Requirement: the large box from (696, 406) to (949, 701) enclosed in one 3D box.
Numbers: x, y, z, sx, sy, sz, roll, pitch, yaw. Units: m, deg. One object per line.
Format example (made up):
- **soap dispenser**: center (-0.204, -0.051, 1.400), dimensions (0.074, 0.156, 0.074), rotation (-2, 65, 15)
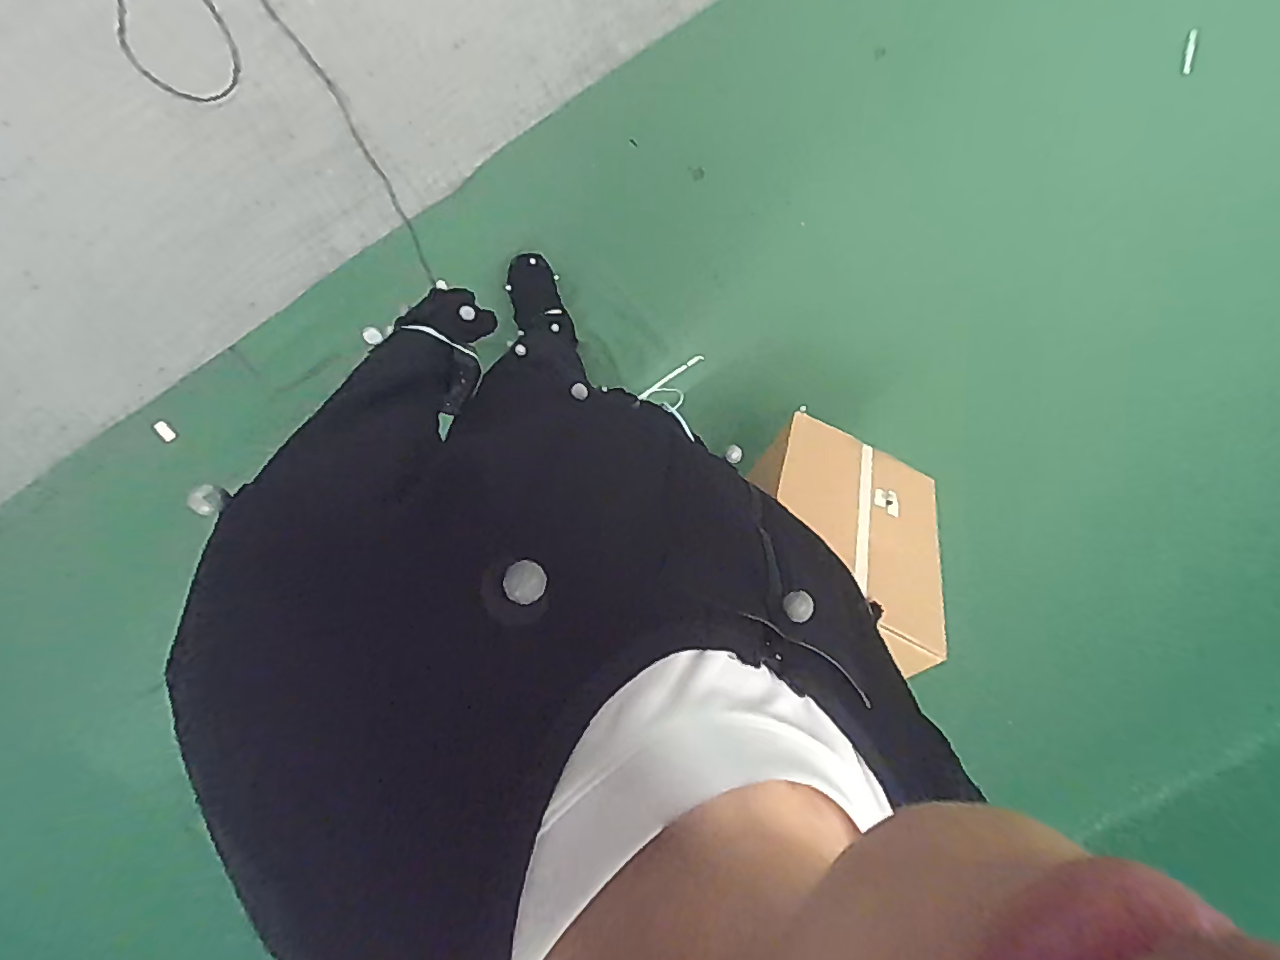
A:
- **large box**: center (0.339, 0.141, 1.048), dimensions (0.320, 0.408, 0.320), rotation (27, 137, -2)
